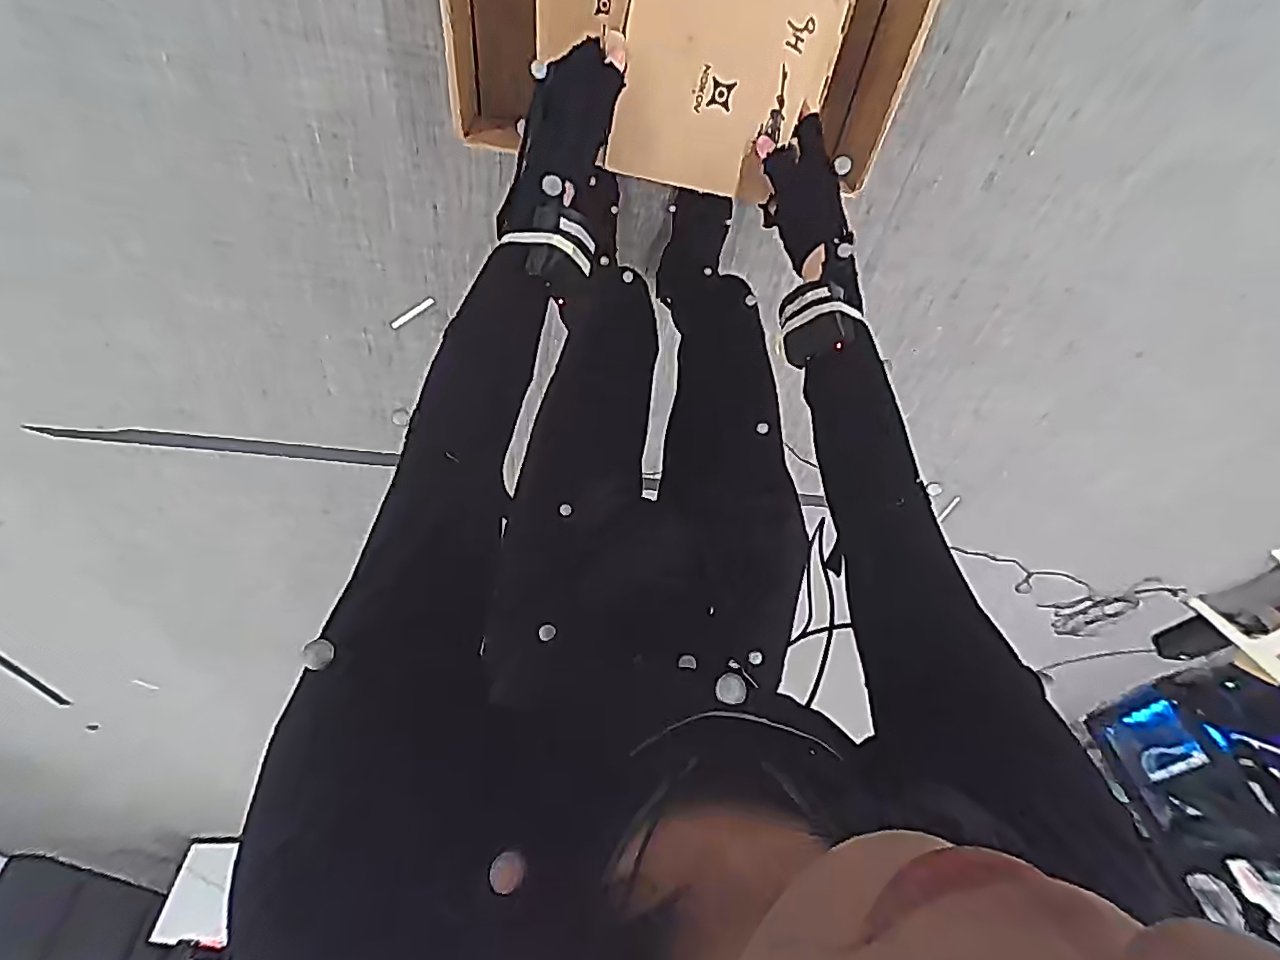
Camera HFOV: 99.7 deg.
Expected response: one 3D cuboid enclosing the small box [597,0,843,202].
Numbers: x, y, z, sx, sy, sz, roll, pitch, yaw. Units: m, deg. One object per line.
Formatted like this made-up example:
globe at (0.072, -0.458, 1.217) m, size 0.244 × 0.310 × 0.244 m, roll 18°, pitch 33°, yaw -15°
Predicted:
small box at (0.057, -0.404, 0.532) m, size 0.179 × 0.176 × 0.168 m, roll 5°, pitch 135°, yaw -14°
